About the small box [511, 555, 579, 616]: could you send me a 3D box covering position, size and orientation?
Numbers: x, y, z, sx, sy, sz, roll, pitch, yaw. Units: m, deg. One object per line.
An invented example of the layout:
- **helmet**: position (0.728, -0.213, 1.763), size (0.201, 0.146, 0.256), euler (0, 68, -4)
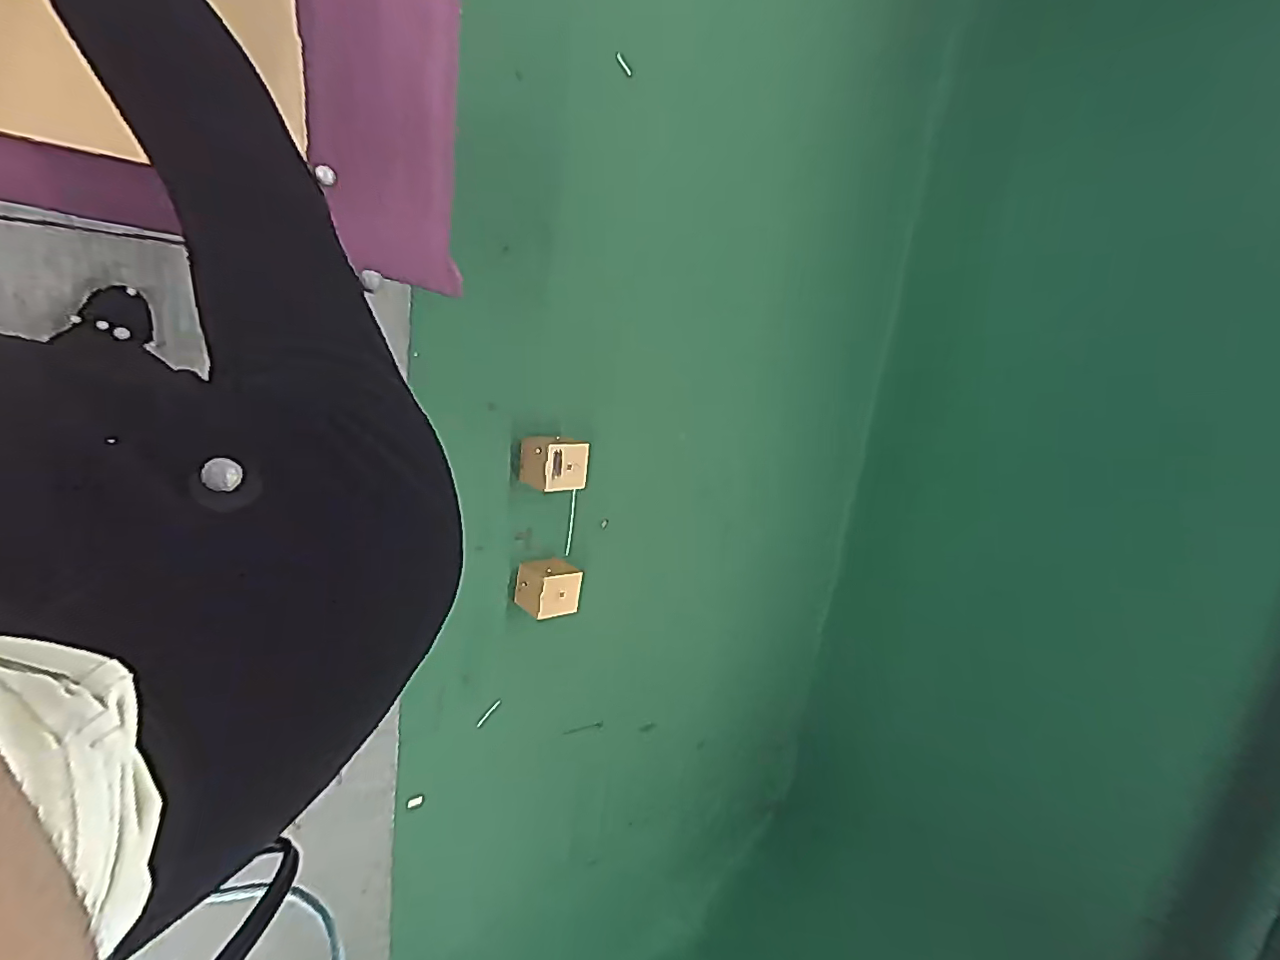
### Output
- **small box**: position (-0.361, 0.393, 2.048), size (0.179, 0.176, 0.168), euler (0, 104, -44)
